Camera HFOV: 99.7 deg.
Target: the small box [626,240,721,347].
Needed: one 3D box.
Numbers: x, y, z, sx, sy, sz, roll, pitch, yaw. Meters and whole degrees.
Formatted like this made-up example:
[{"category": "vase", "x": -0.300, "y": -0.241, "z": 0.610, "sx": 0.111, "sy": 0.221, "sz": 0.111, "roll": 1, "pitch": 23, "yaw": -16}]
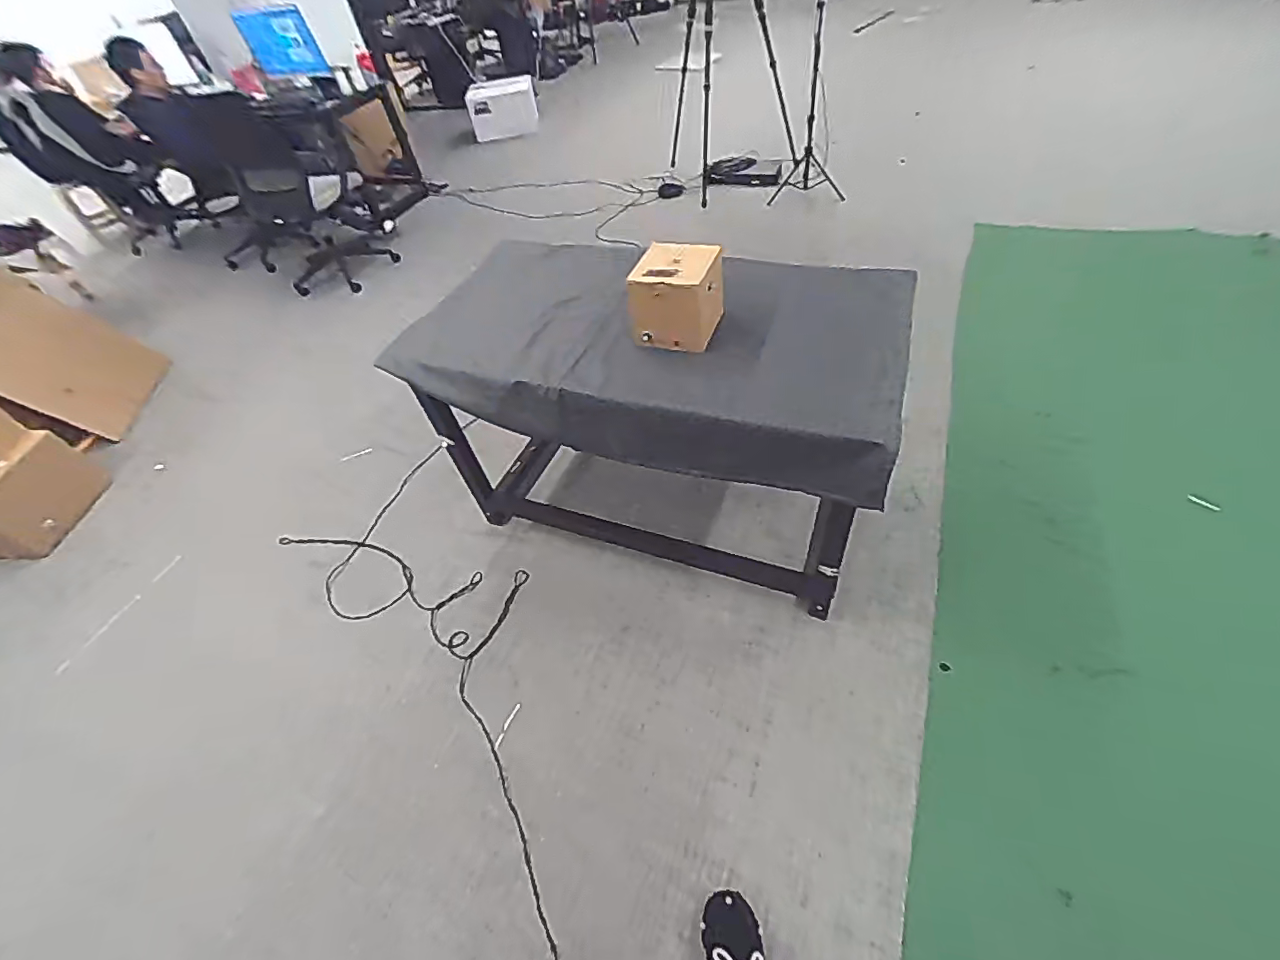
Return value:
[{"category": "small box", "x": 0.087, "y": -0.423, "z": 1.231, "sx": 0.168, "sy": 0.176, "sz": 0.179, "roll": 12, "pitch": 52, "yaw": 20}]
